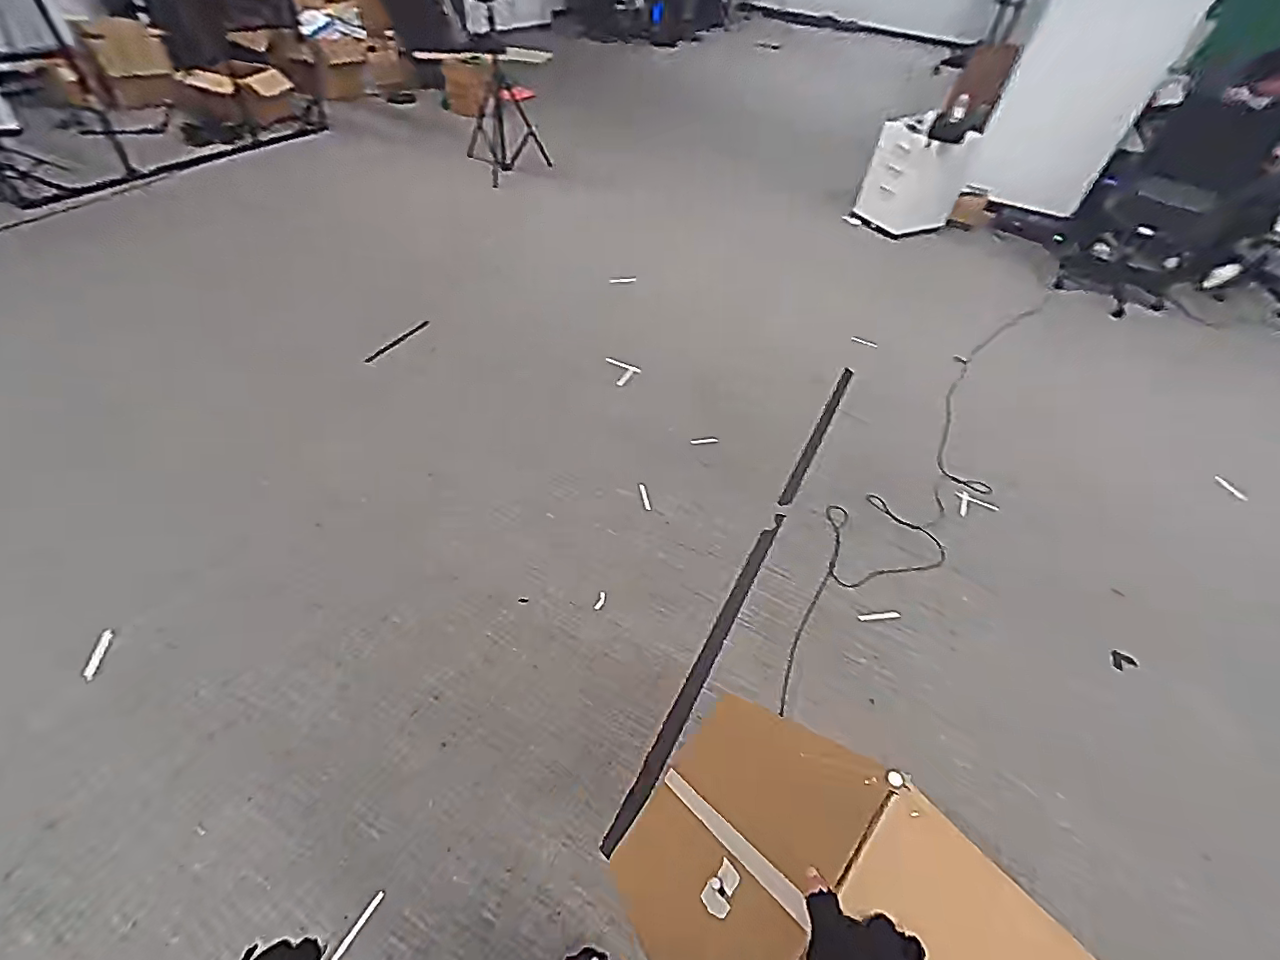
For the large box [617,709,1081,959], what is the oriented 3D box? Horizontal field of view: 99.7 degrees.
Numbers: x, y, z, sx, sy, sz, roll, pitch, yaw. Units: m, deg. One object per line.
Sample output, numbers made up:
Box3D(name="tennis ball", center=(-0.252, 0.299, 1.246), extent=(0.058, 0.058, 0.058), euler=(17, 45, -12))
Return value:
Box3D(name="large box", center=(0.224, 0.554, 0.682), extent=(0.320, 0.408, 0.320), euler=(44, 72, -5))
